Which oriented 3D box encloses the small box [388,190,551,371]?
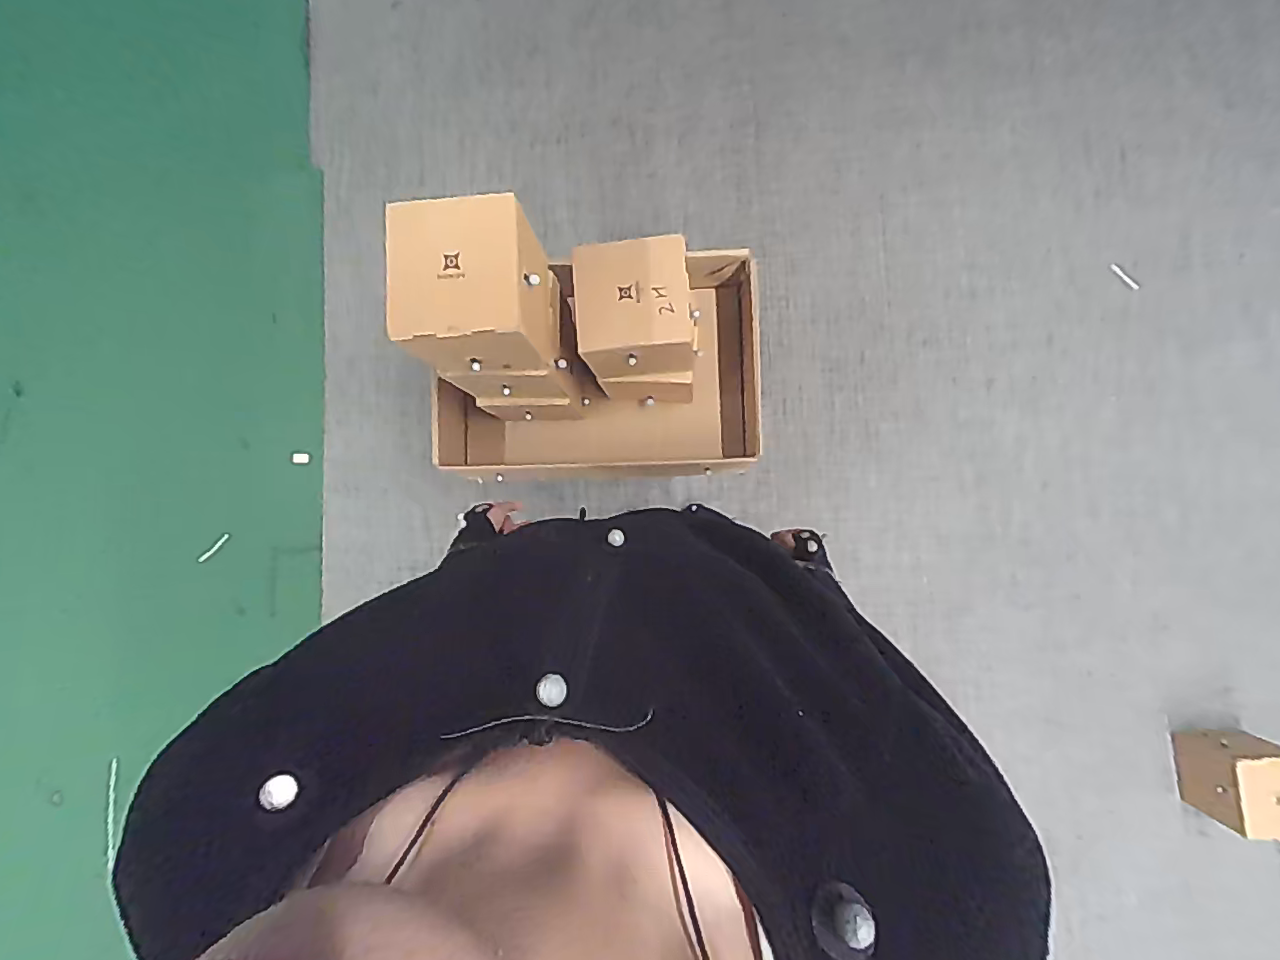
[{"bbox_3d":[-0.222,-0.260,0.737,0.168,0.176,0.179,-3,86,4],"label":"small box"}]

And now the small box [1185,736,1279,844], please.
[{"bbox_3d":[1.445,0.719,1.271,0.168,0.176,0.179,-4,86,5],"label":"small box"}]
